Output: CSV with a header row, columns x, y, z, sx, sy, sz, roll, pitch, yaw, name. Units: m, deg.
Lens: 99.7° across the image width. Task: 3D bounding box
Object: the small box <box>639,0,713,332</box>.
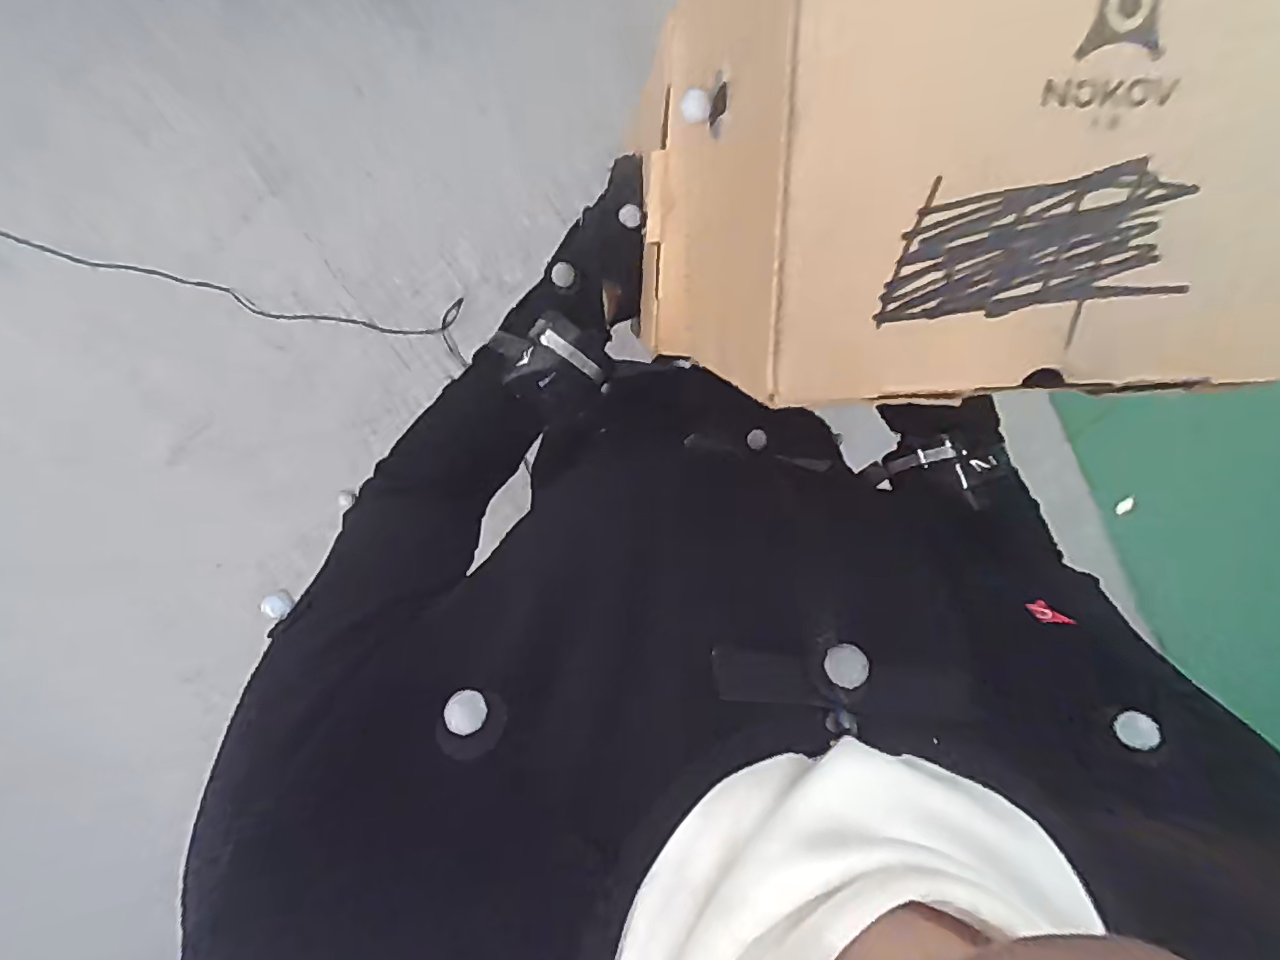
x,y,z,sx,sy,sz,roll,pitch,yaw,name
0.090,-0.187,0.369,0.179,0.176,0.168,-2,106,-4,small box
